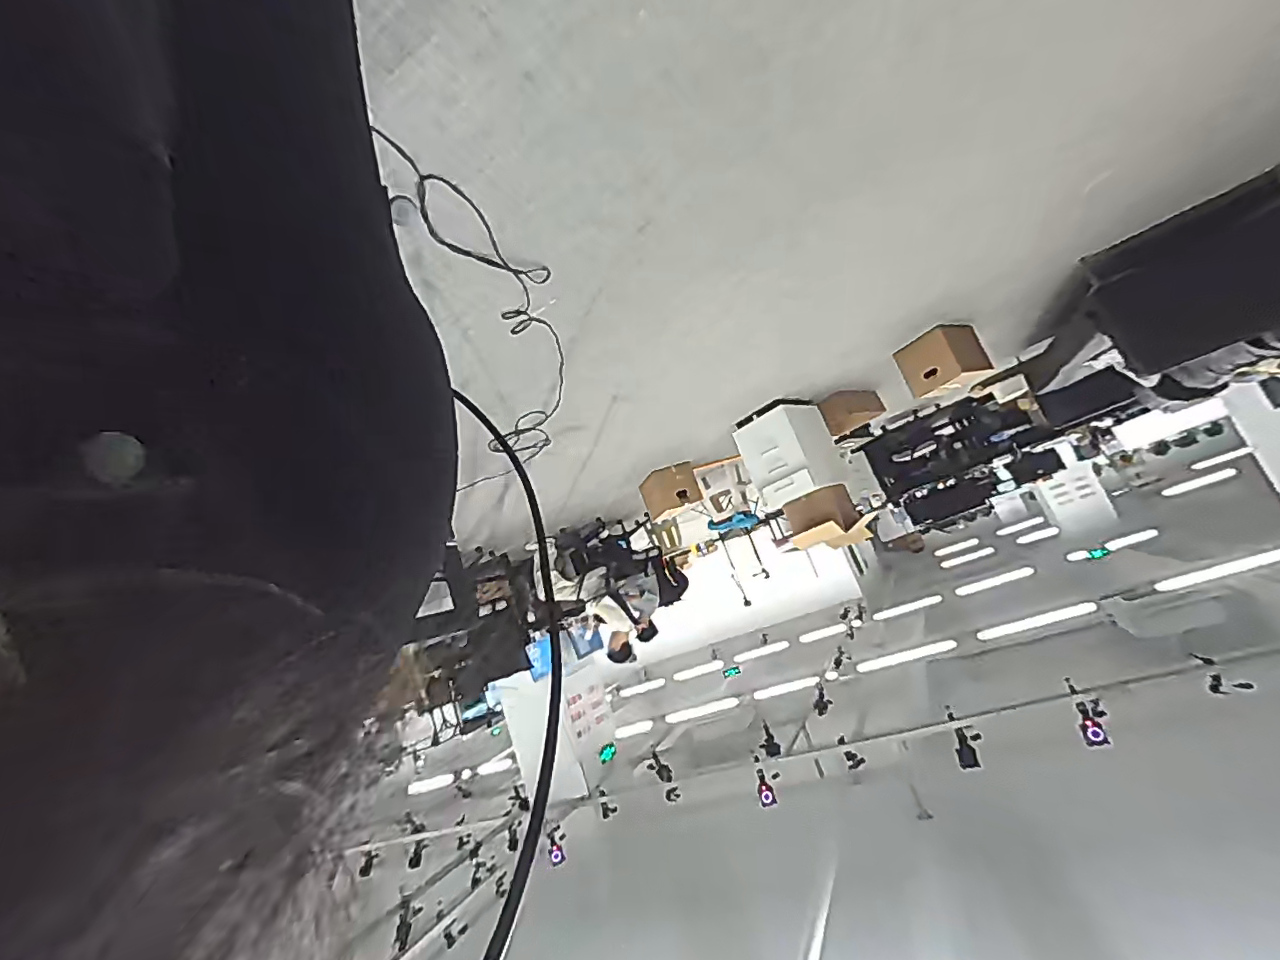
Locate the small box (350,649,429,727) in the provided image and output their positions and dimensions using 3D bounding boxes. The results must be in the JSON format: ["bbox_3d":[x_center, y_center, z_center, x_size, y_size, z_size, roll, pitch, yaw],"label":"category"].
[{"bbox_3d":[-0.757,0.625,1.644,0.179,0.176,0.168,-16,167,-24],"label":"small box"}]
